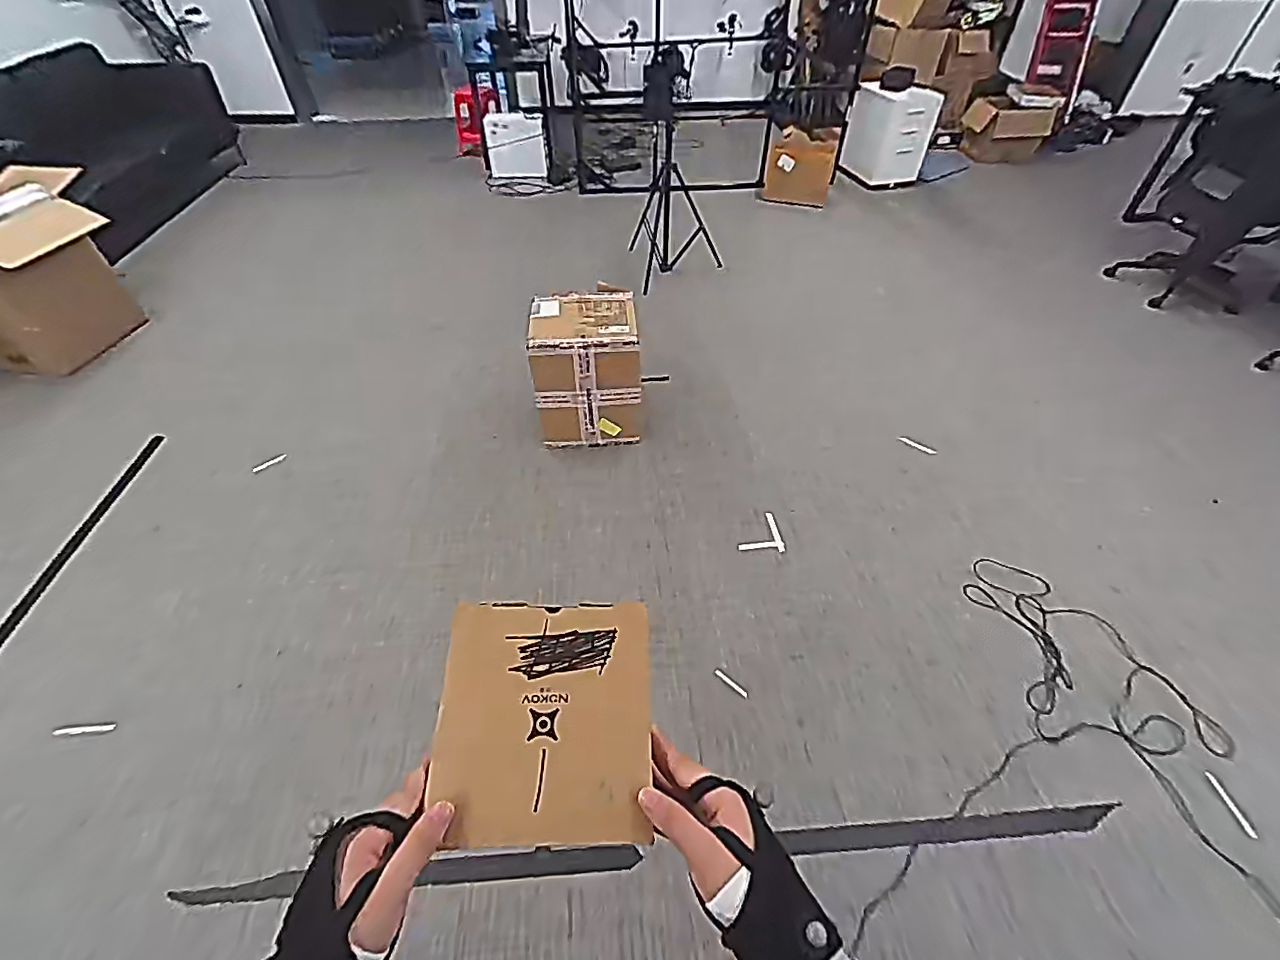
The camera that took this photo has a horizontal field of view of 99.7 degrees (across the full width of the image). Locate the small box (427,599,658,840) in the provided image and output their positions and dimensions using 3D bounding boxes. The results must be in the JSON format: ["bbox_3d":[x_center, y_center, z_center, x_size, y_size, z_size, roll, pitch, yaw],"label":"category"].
[{"bbox_3d":[-0.074,0.221,0.492,0.168,0.176,0.179,1,58,-3],"label":"small box"}]
